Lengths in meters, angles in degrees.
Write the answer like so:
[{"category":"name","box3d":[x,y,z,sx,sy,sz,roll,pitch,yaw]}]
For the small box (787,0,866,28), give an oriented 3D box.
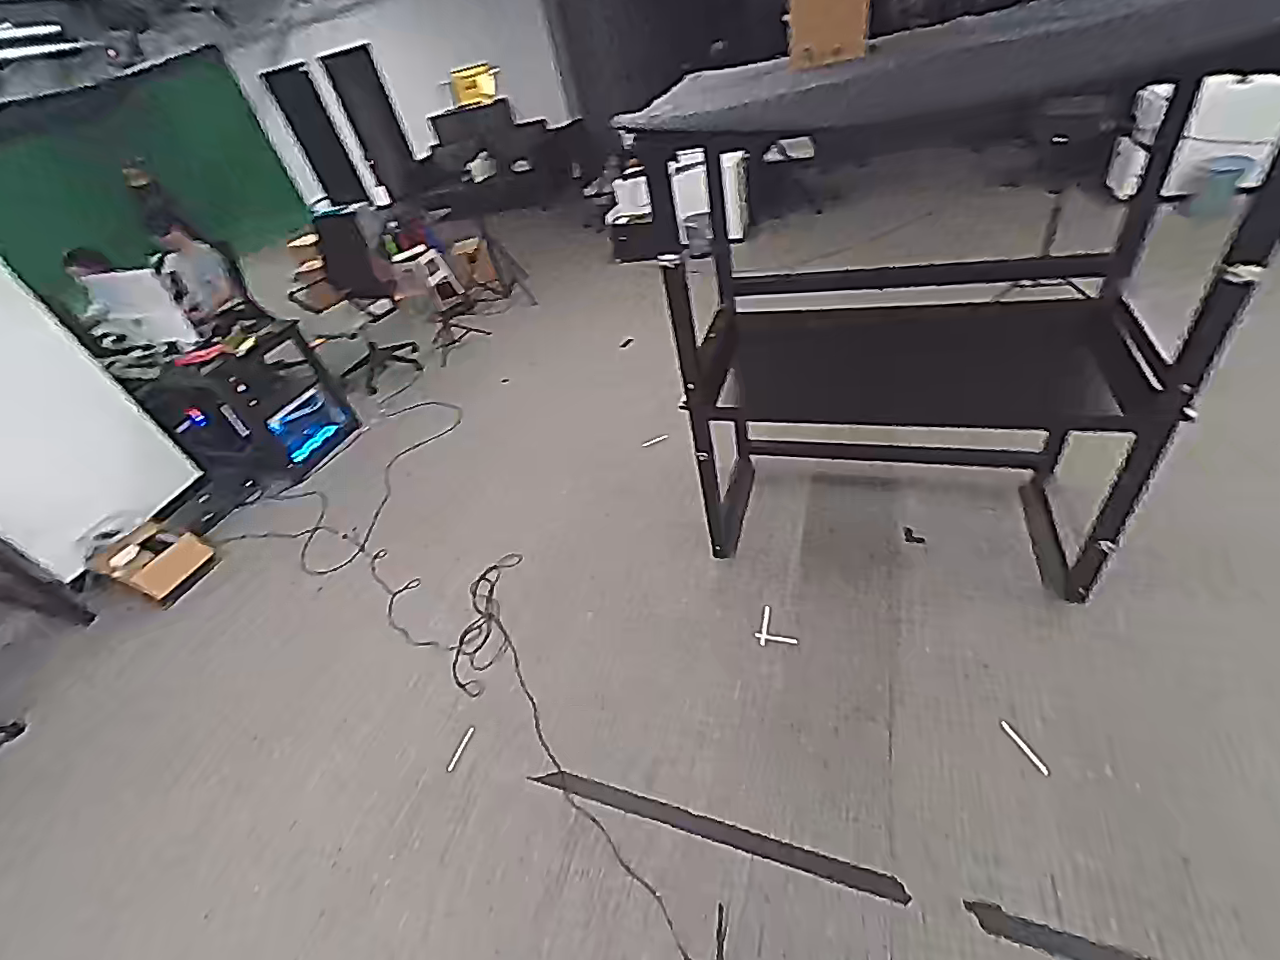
[{"category":"small box","box3d":[0.416,-1.131,1.200,0.168,0.176,0.179,2,44,18]}]
